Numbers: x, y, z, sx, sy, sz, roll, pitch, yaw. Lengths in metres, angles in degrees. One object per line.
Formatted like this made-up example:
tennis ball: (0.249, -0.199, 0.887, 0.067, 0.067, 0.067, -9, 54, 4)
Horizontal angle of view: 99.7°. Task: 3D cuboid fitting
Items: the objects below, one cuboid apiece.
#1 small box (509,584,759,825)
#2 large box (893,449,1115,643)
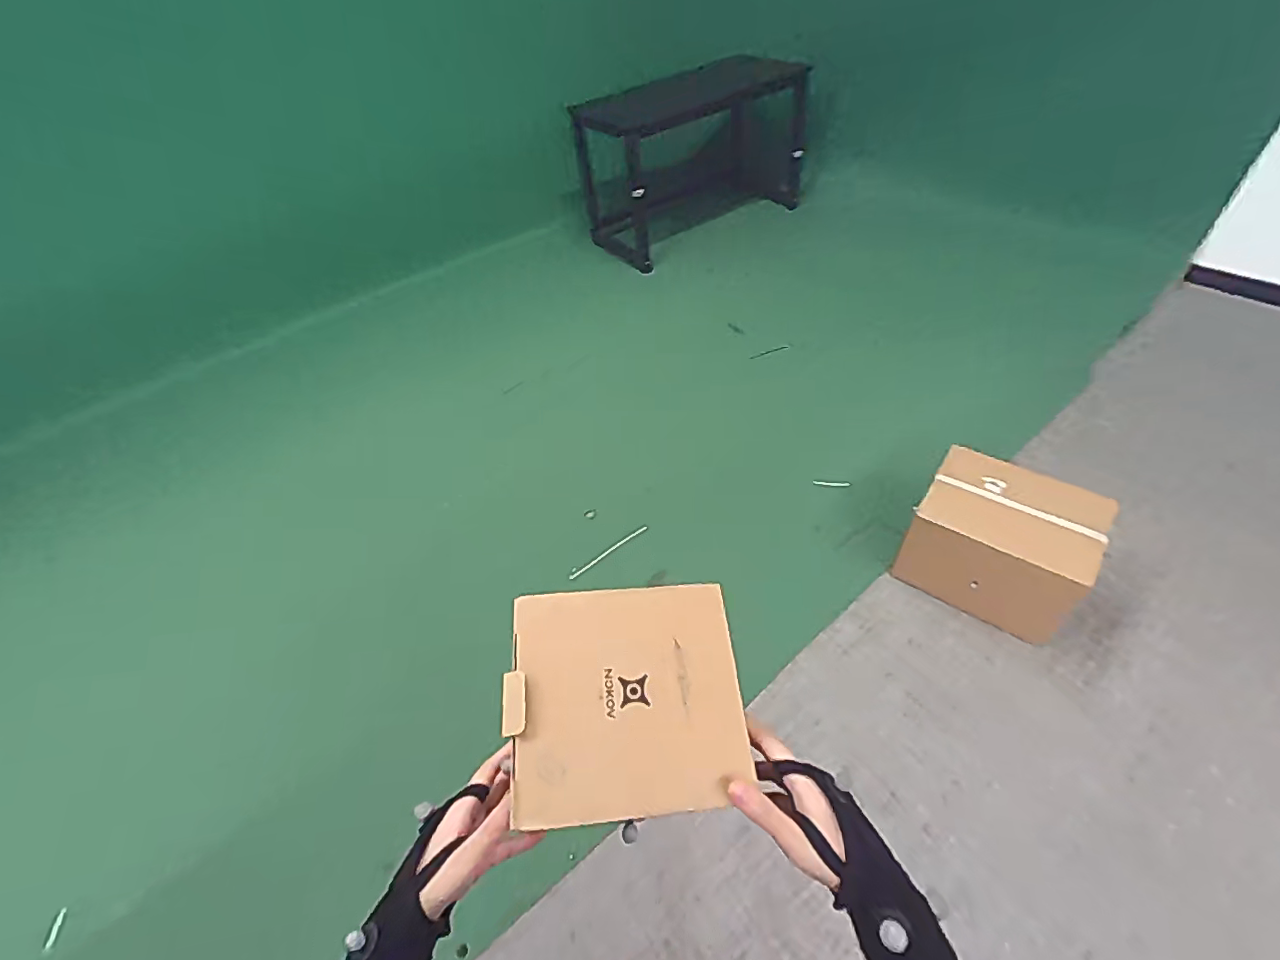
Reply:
small box: (-0.013, 0.202, 0.478, 0.179, 0.176, 0.168, -1, 58, -7)
large box: (0.993, 0.178, 1.513, 0.408, 0.320, 0.320, 26, 56, 30)
